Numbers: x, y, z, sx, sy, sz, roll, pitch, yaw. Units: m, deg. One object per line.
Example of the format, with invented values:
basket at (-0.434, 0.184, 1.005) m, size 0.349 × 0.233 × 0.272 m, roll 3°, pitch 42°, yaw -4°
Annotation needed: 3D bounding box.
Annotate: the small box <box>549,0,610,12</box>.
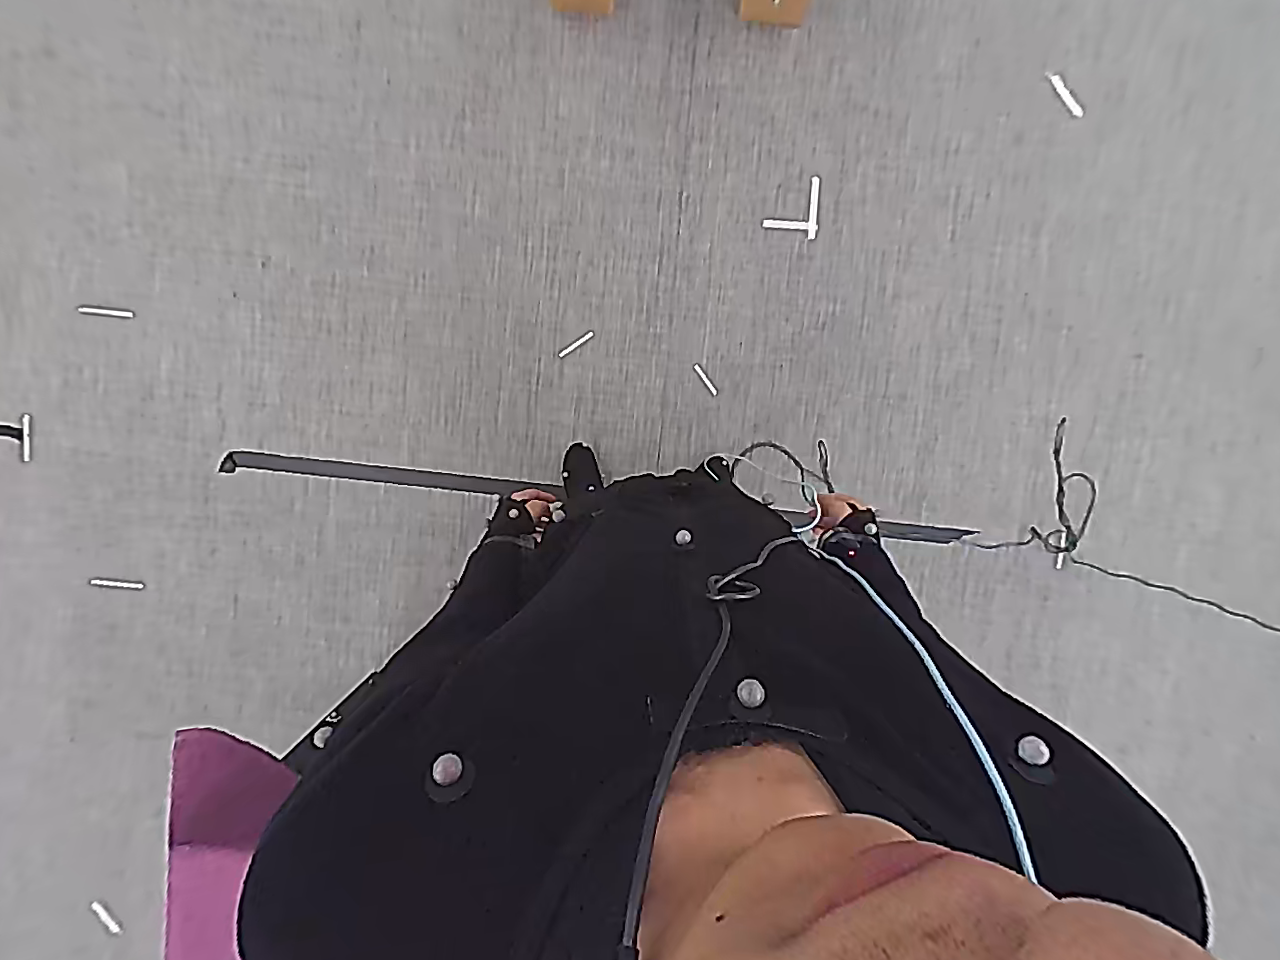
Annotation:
small box at (-0.160, -1.393, 1.433) m, size 0.179 × 0.176 × 0.168 m, roll 4°, pitch 95°, yaw -1°
